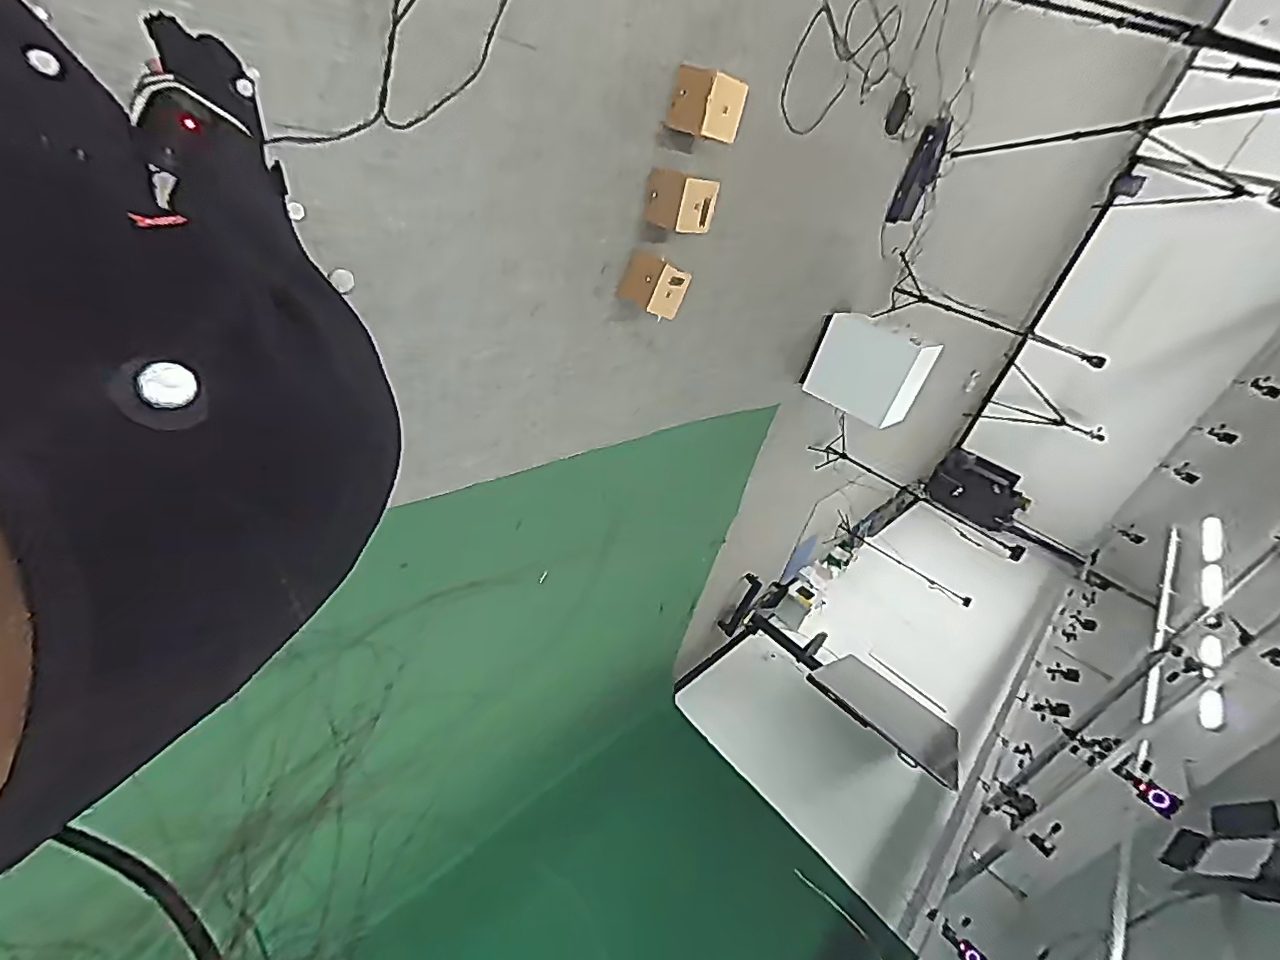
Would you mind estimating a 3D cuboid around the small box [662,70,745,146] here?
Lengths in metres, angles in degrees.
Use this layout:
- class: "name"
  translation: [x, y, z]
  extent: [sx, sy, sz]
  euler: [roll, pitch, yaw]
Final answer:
- class: "small box"
  translation: [0.202, -1.200, 1.743]
  extent: [0.179, 0.176, 0.168]
  euler: [-19, 134, -42]

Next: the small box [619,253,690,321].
- class: "small box"
  translation: [0.050, -0.717, 2.005]
  extent: [0.168, 0.176, 0.179]
  euler: [-3, 124, -51]
